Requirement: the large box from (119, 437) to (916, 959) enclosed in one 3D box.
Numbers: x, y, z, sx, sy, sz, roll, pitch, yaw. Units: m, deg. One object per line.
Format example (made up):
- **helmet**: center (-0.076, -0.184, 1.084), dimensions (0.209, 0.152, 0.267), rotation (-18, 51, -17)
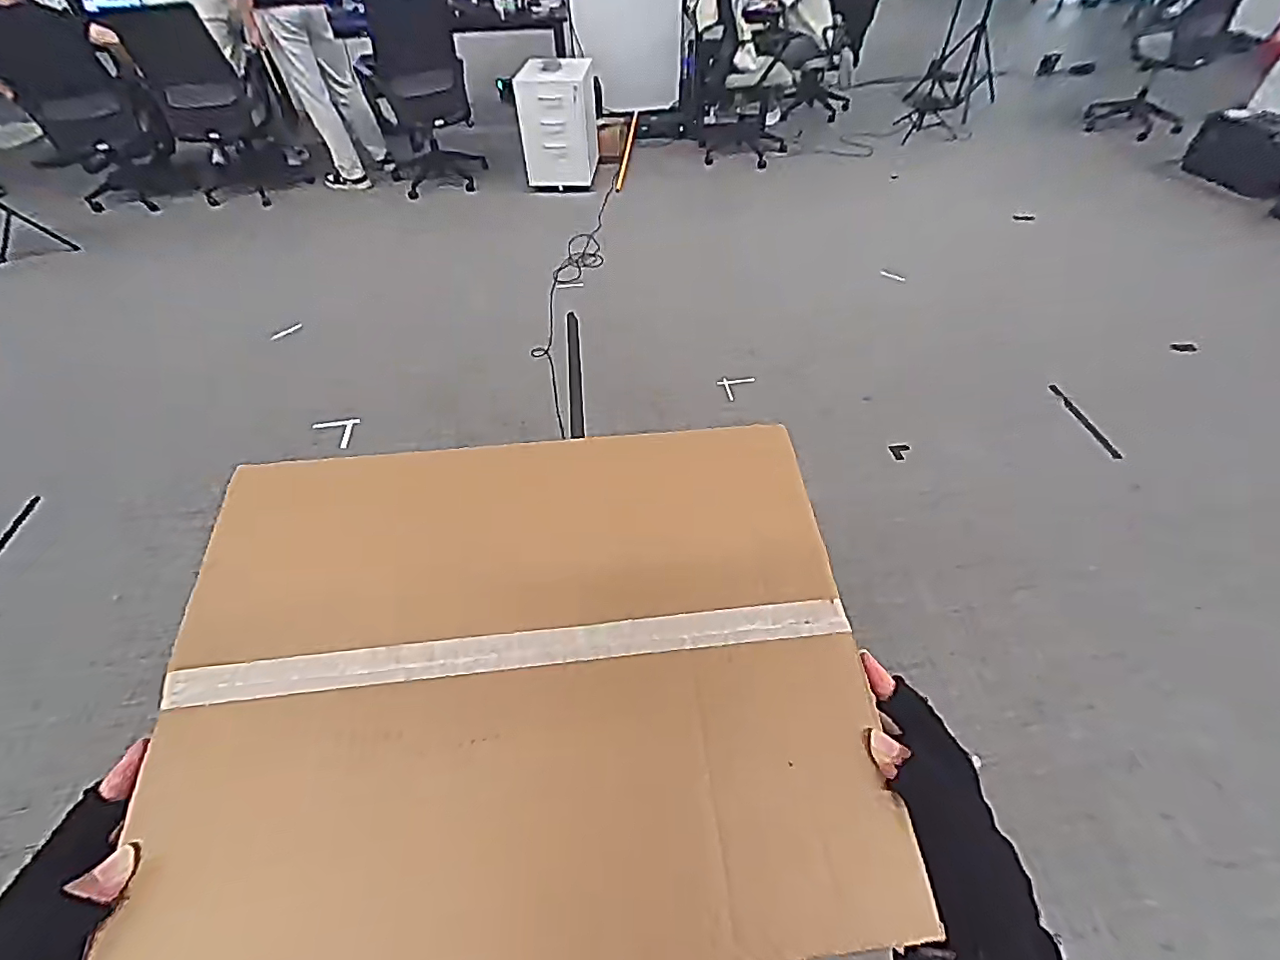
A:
- **large box**: center (-0.073, 0.192, 0.466), dimensions (0.408, 0.320, 0.320), rotation (-5, 59, -4)
